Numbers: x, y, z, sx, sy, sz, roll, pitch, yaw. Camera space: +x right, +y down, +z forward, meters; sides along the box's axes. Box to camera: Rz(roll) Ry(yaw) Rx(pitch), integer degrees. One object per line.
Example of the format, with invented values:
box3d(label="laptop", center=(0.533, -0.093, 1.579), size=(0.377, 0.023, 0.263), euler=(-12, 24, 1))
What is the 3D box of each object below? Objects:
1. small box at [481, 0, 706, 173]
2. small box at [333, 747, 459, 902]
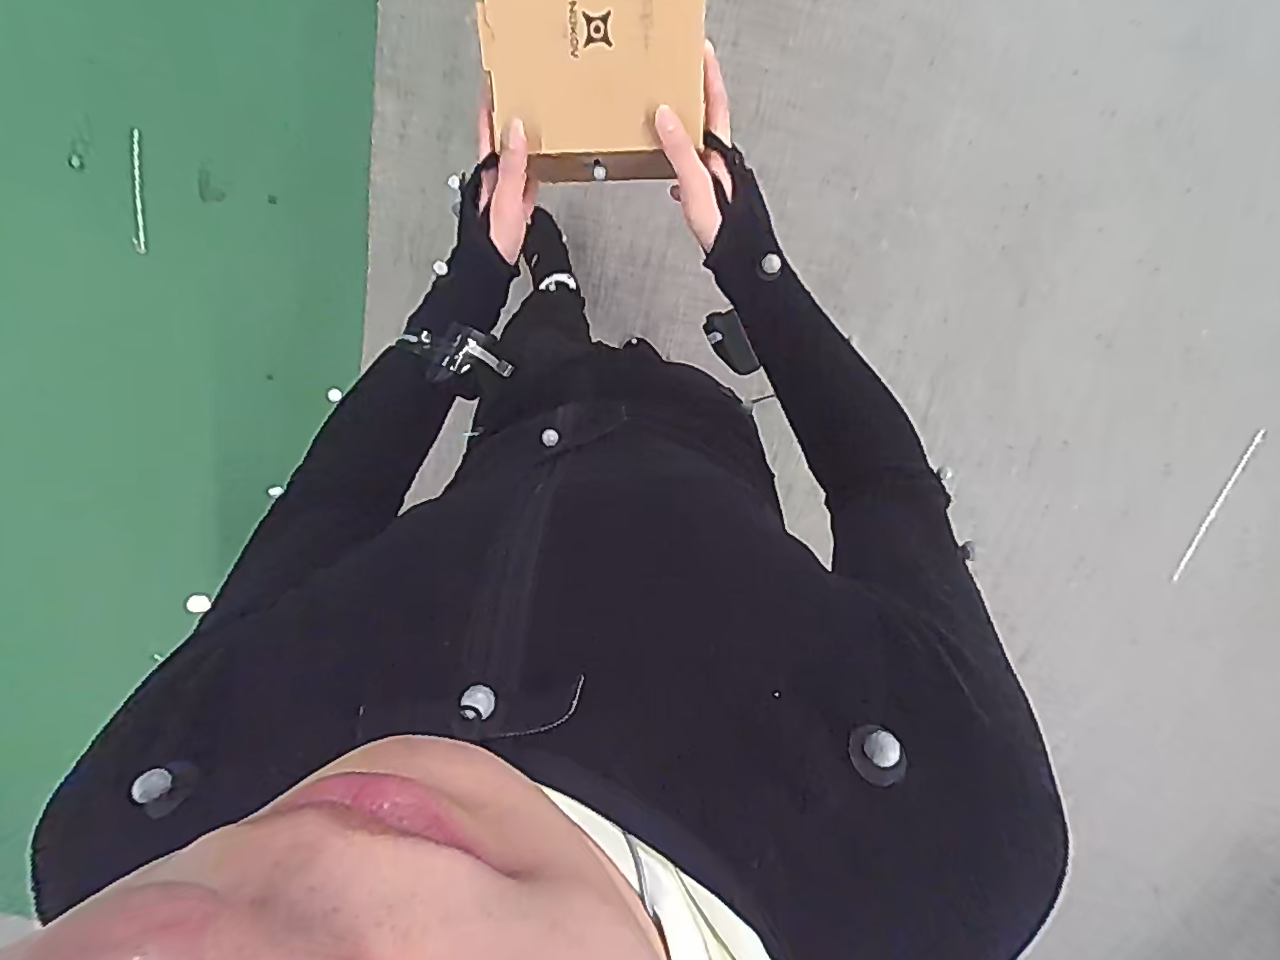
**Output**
box3d(label="small box", center=(-0.030, -0.384, 0.489), size=(0.179, 0.176, 0.168), euler=(1, 112, 4))
box3d(label="small box", center=(-0.473, 0.672, 1.066), size=(0.168, 0.176, 0.179), euler=(14, 109, -1))
